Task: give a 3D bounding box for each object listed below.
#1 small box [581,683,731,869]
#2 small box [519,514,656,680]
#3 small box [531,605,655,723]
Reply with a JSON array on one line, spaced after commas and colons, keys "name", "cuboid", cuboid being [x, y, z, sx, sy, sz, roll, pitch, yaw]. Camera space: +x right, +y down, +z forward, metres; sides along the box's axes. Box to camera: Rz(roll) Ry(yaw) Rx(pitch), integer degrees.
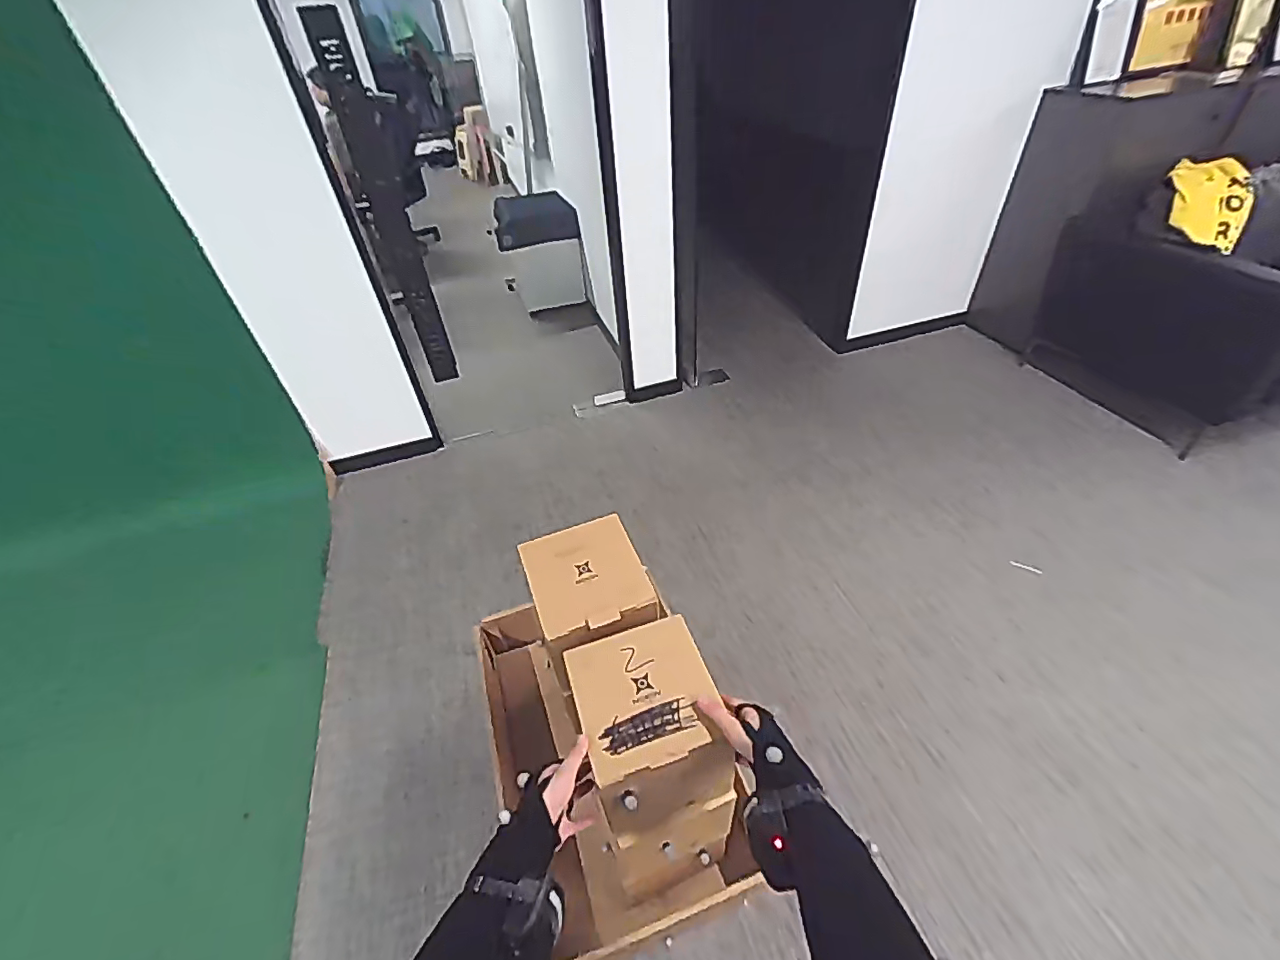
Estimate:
[{"name": "small box", "cuboid": [0.023, 0.444, 0.803, 0.168, 0.176, 0.179, -16, 43, -13]}, {"name": "small box", "cuboid": [-0.078, 0.189, 0.849, 0.168, 0.176, 0.179, -16, 47, -14]}, {"name": "small box", "cuboid": [-0.079, 0.306, 0.963, 0.168, 0.176, 0.179, -19, 47, -16]}]
